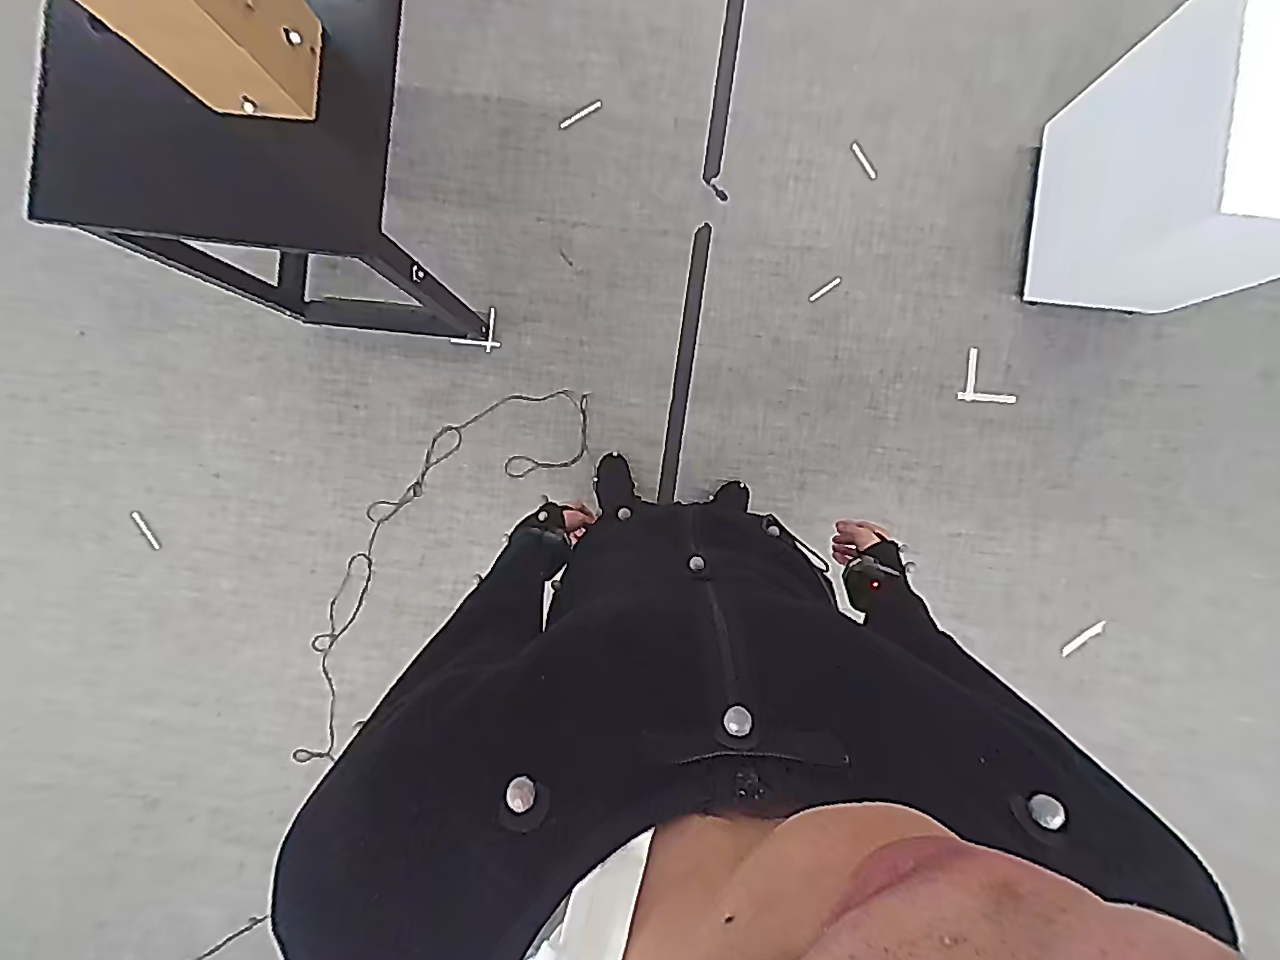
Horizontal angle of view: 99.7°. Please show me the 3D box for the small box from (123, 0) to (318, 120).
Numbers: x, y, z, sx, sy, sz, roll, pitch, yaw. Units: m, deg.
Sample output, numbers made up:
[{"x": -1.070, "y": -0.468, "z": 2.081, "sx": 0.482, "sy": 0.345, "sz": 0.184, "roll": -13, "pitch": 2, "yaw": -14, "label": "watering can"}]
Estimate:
[{"x": -0.630, "y": -0.692, "z": 0.834, "sx": 0.179, "sy": 0.176, "sz": 0.168, "roll": 5, "pitch": 91, "yaw": 1, "label": "small box"}]

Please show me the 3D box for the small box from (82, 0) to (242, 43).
[{"x": -0.636, "y": -0.688, "z": 0.669, "sx": 0.179, "sy": 0.176, "sz": 0.168, "roll": 6, "pitch": 92, "yaw": 1, "label": "small box"}]
